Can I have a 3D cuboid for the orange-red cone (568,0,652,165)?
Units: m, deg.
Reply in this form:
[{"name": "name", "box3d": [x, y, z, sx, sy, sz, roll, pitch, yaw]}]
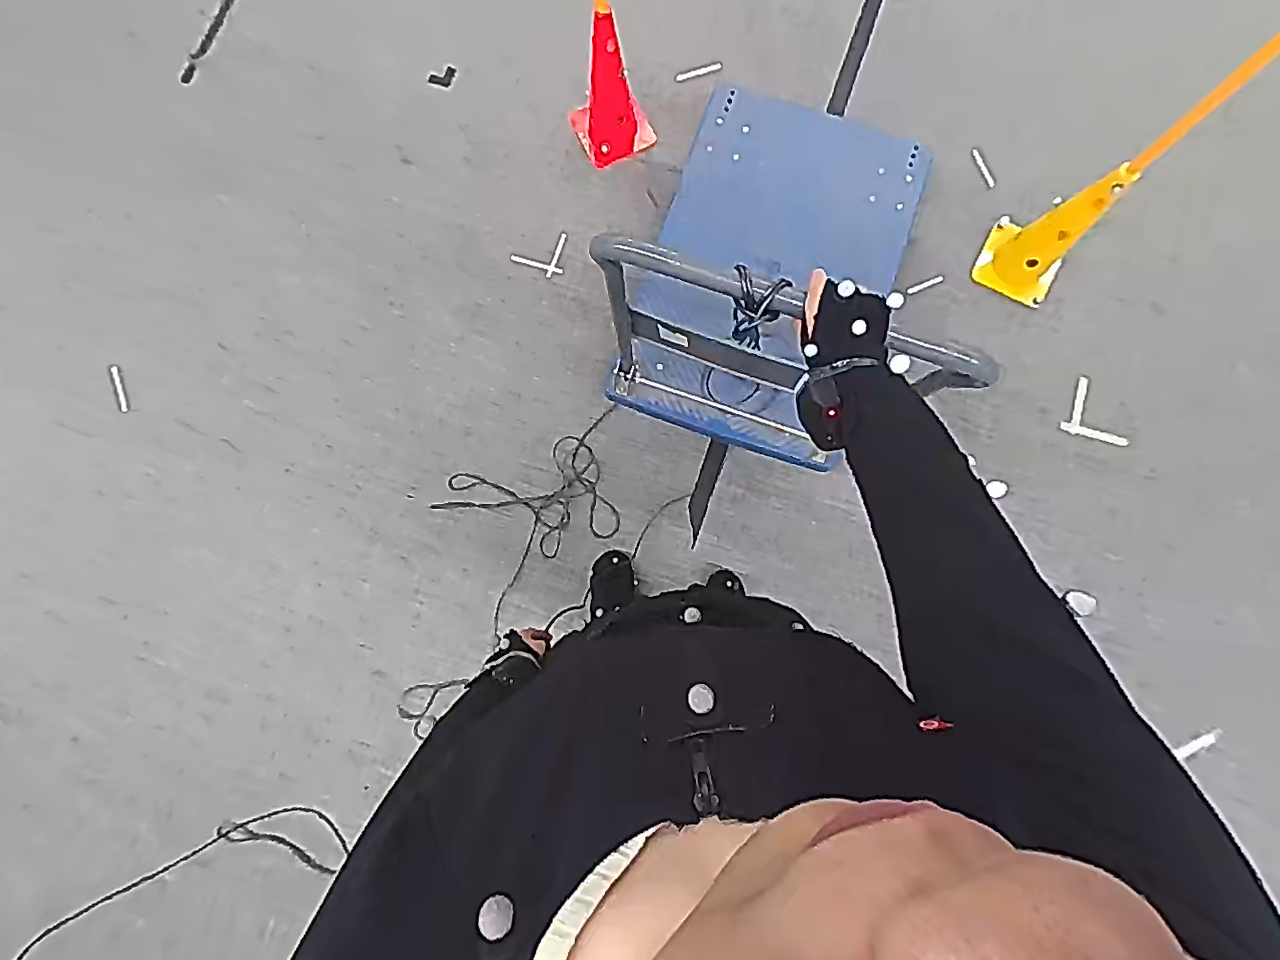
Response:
[{"name": "orange-red cone", "box3d": [-0.085, -1.035, 1.377, 0.199, 0.360, 0.198, -25, 83, -4]}]
